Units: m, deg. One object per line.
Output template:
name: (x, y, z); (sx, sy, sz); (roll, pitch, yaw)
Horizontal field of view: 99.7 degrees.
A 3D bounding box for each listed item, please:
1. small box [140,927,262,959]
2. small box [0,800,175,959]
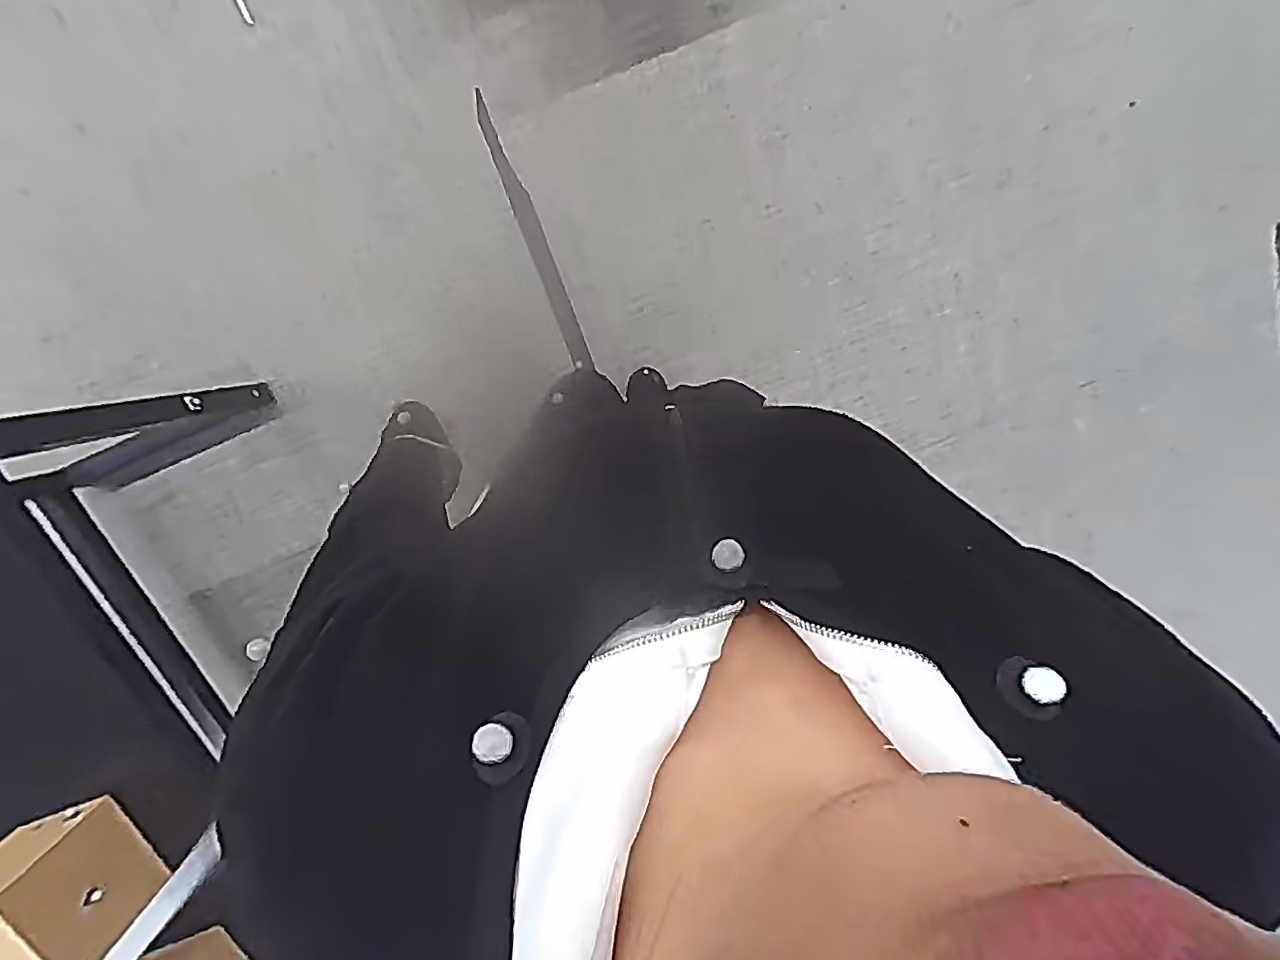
small box: (-0.736, 0.864, 0.863); (0.168, 0.176, 0.179); (-24, 105, 5)
small box: (-0.854, 0.604, 0.787); (0.168, 0.176, 0.179); (-21, 106, 3)
